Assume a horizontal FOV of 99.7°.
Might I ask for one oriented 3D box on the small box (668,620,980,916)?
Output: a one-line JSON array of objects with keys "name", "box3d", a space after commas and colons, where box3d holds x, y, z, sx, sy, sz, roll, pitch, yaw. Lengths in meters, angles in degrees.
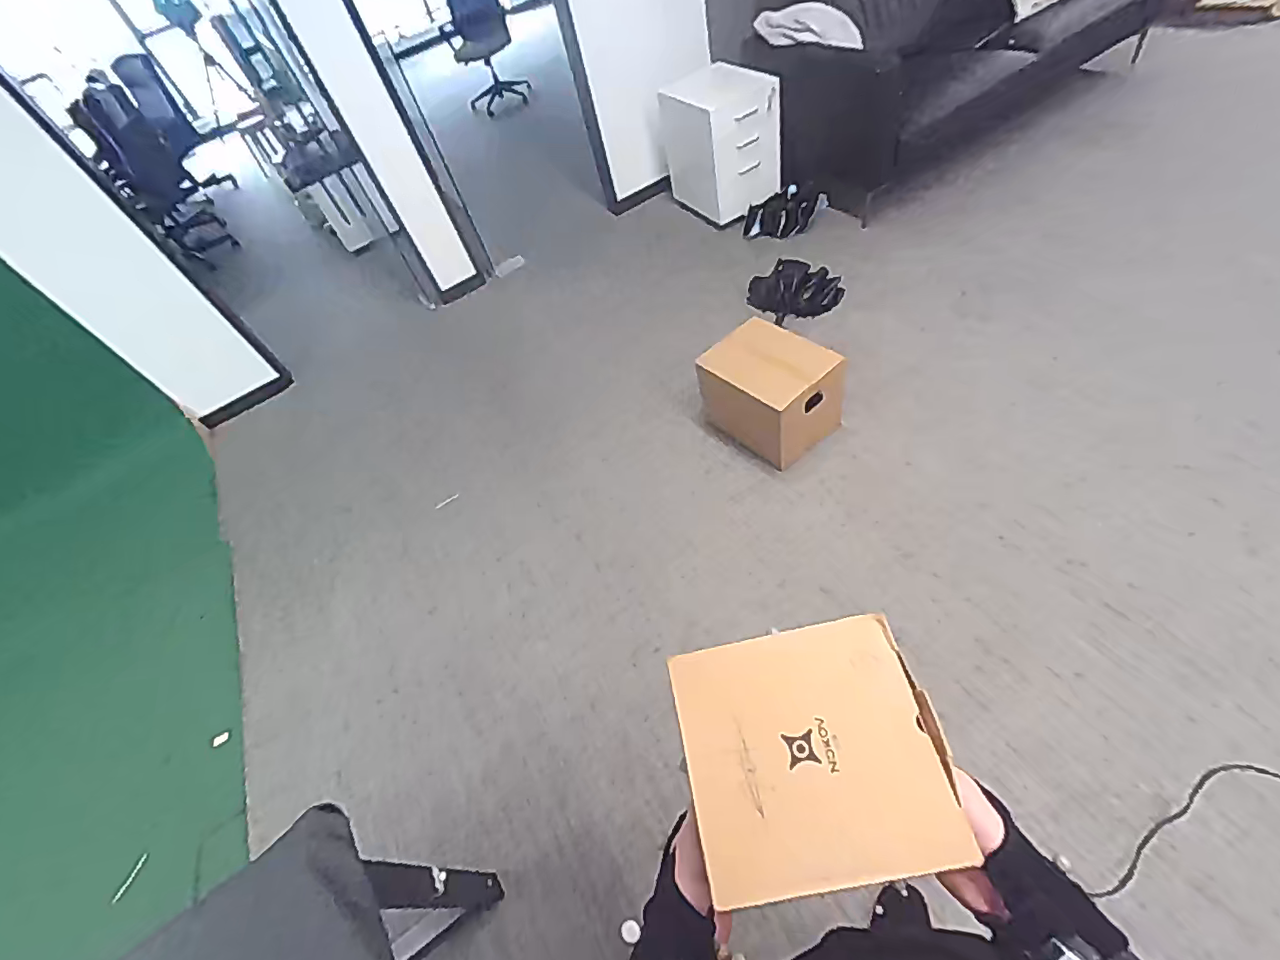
[{"name": "small box", "box3d": [0.132, 0.234, 0.453, 0.179, 0.176, 0.168, -15, 58, 4]}]
